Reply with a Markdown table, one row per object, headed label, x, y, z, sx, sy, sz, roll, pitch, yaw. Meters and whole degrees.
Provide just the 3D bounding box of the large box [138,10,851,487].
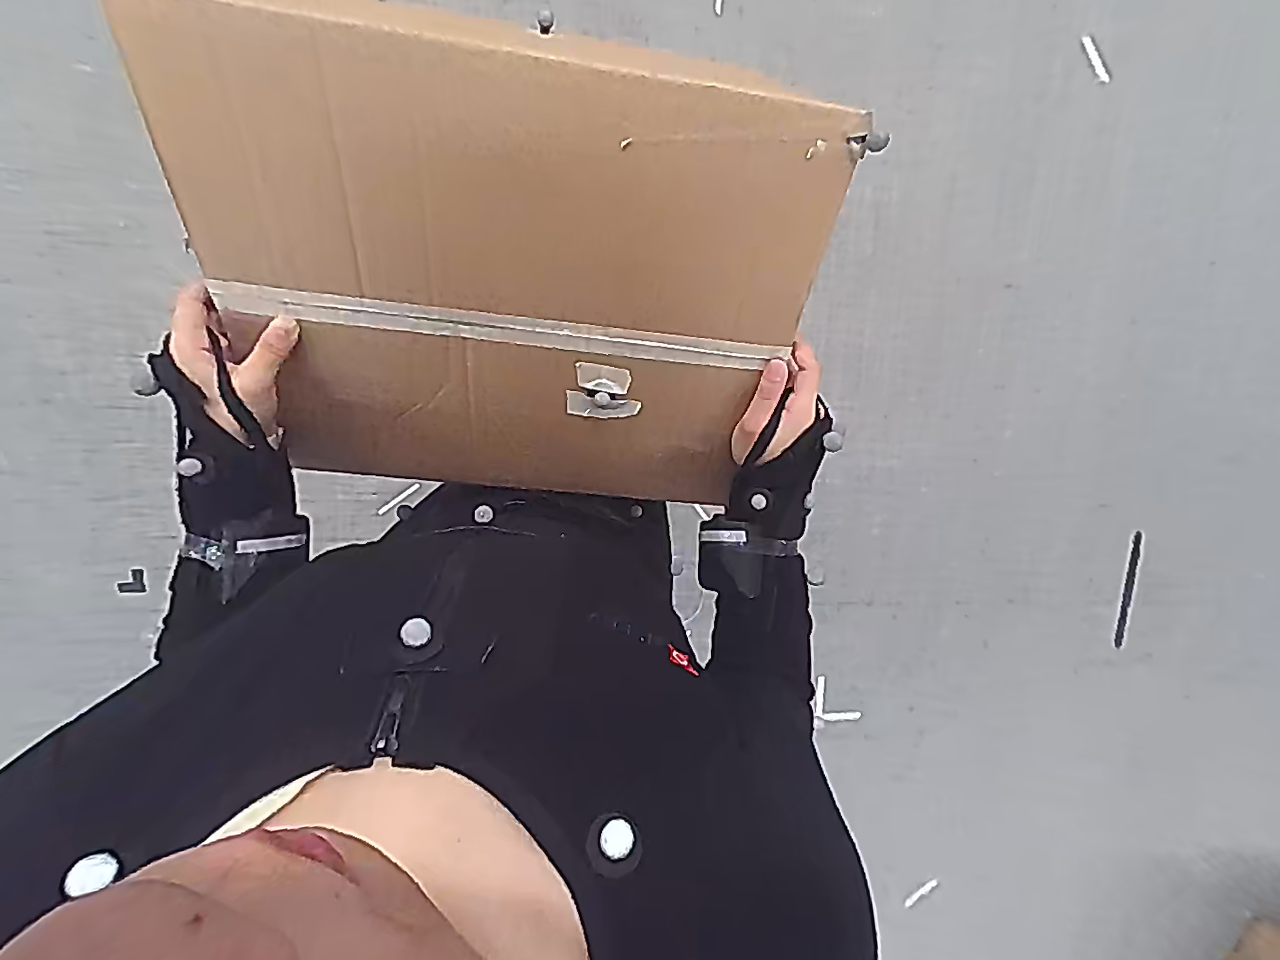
| label | x | y | z | sx | sy | sz | roll | pitch | yaw |
| --- | --- | --- | --- | --- | --- | --- | --- | --- | --- |
| large box | -0.094 | -0.214 | 0.510 | 0.408 | 0.320 | 0.320 | 4 | 132 | -7 |
